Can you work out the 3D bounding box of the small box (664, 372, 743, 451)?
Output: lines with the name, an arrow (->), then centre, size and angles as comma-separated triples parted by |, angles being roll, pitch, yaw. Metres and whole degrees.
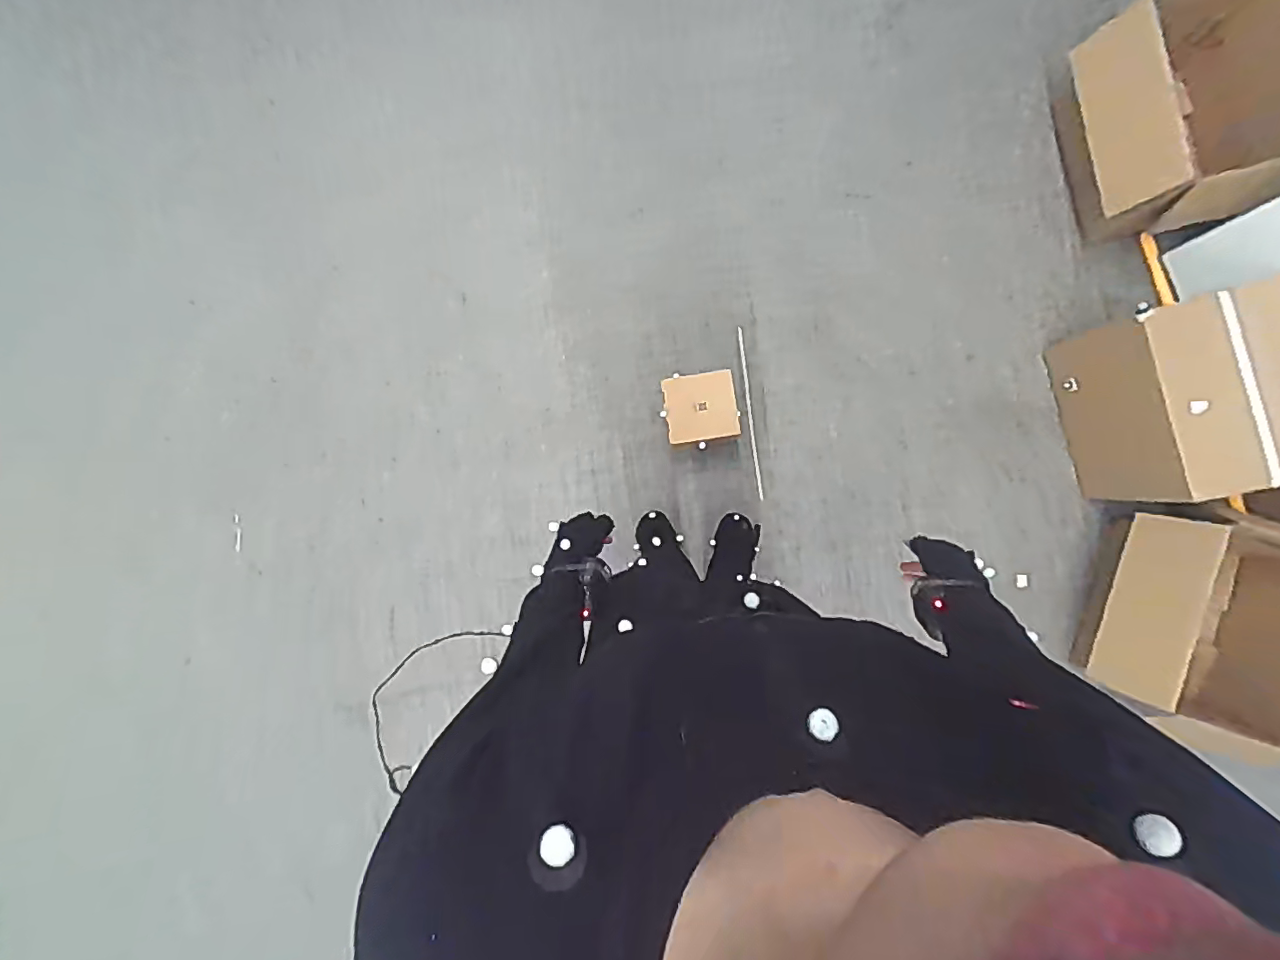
small box -> 0.161, -0.172, 1.394 | 0.179, 0.176, 0.168 | -8, 87, 6
